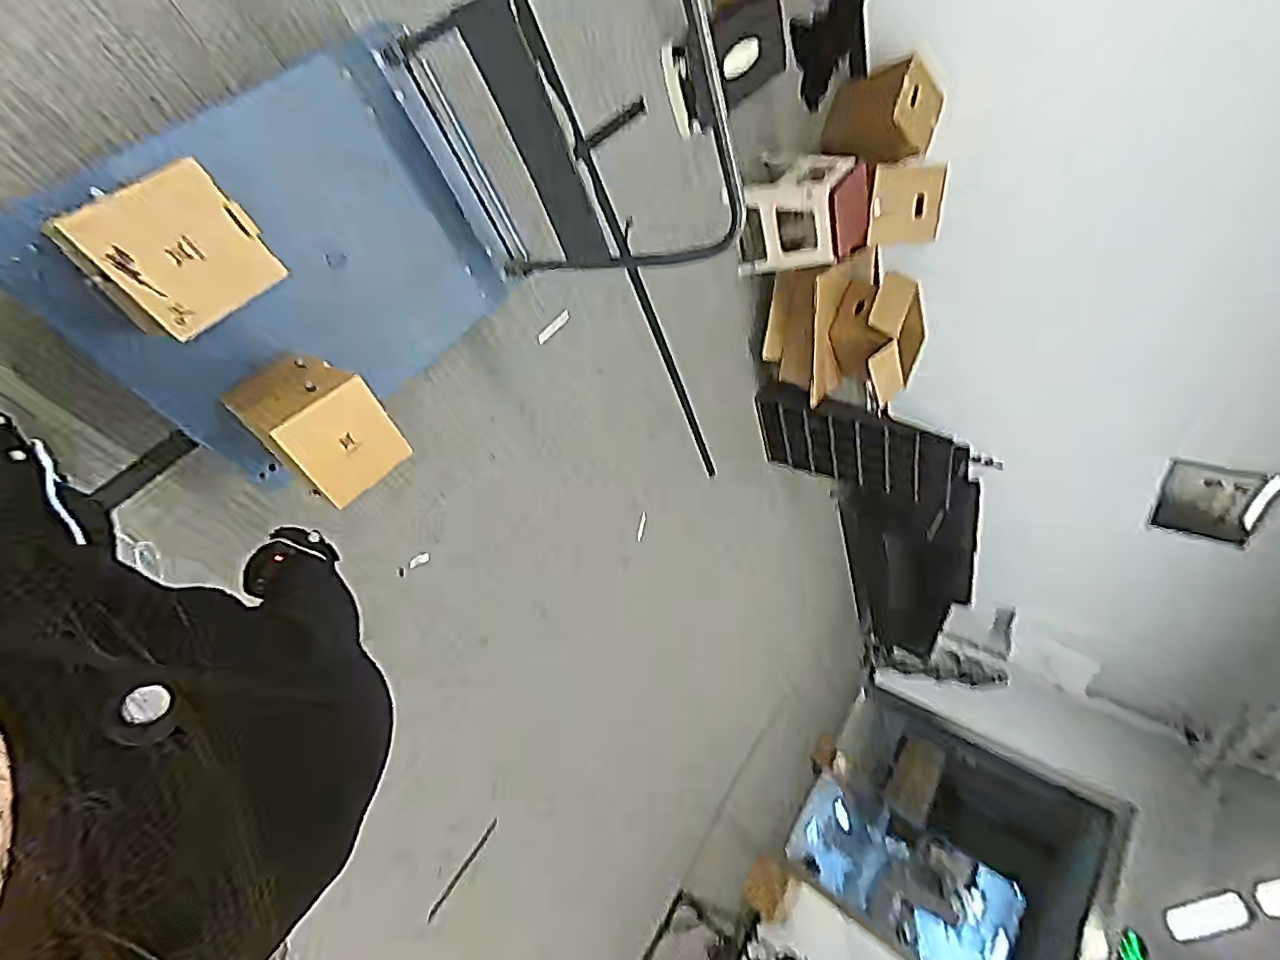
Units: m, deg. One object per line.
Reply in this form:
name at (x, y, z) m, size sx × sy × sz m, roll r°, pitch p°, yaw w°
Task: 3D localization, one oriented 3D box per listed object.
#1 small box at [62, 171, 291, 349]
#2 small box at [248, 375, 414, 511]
small box at (-0.655, -0.310, 0.767) m, size 0.179 × 0.176 × 0.168 m, roll -51°, pitch 137°, yaw -26°
small box at (-0.559, -0.076, 0.980) m, size 0.168 × 0.176 × 0.179 m, roll -47°, pitch 136°, yaw -28°
